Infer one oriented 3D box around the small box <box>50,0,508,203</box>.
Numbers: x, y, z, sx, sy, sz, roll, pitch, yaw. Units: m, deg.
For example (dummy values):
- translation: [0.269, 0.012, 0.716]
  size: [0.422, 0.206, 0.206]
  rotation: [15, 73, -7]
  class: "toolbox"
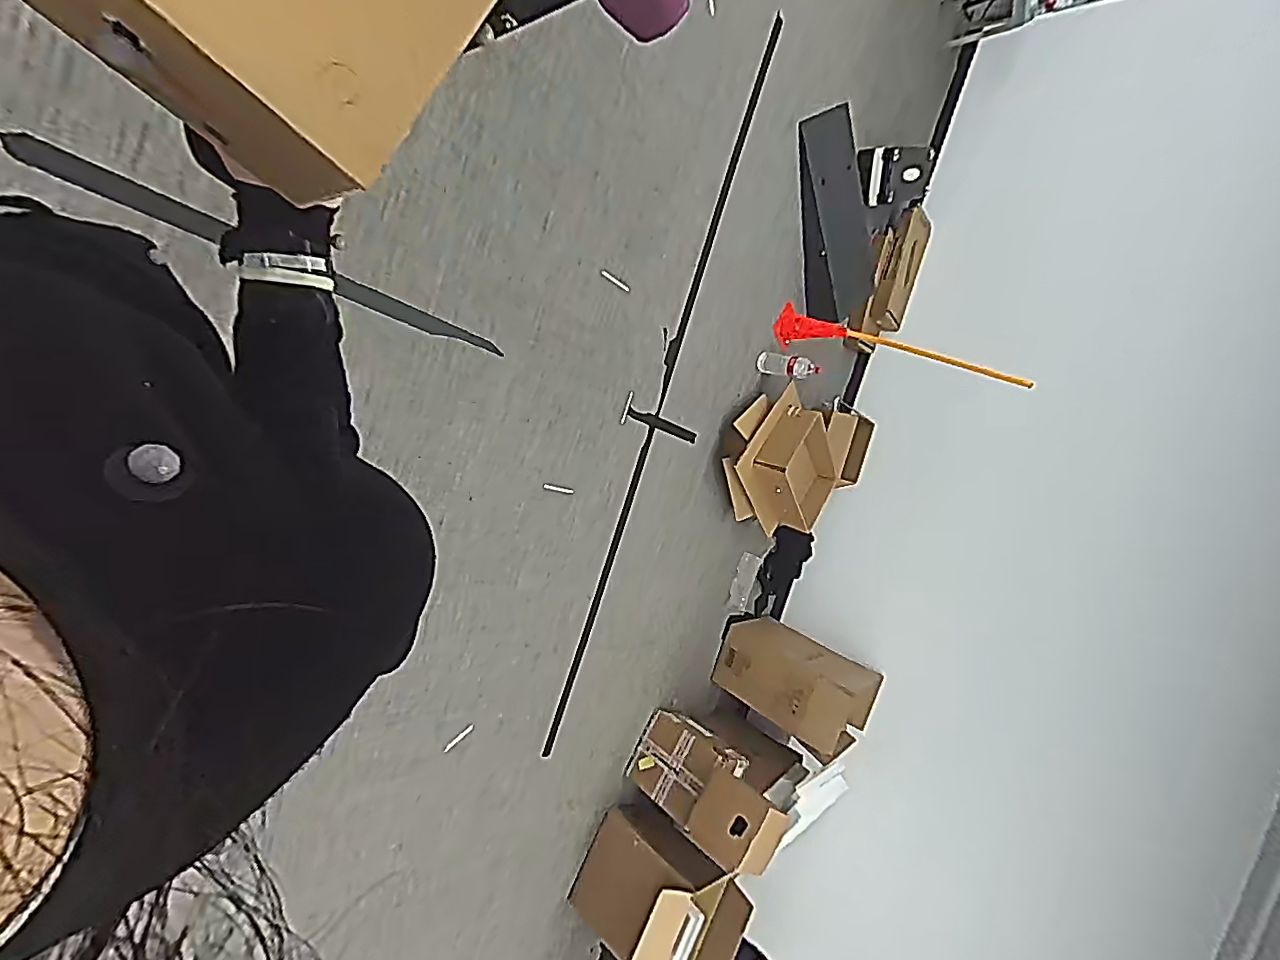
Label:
- translation: [-0.202, -0.287, 0.306]
  size: [0.168, 0.176, 0.179]
  rotation: [35, 80, -45]
  class: "small box"
